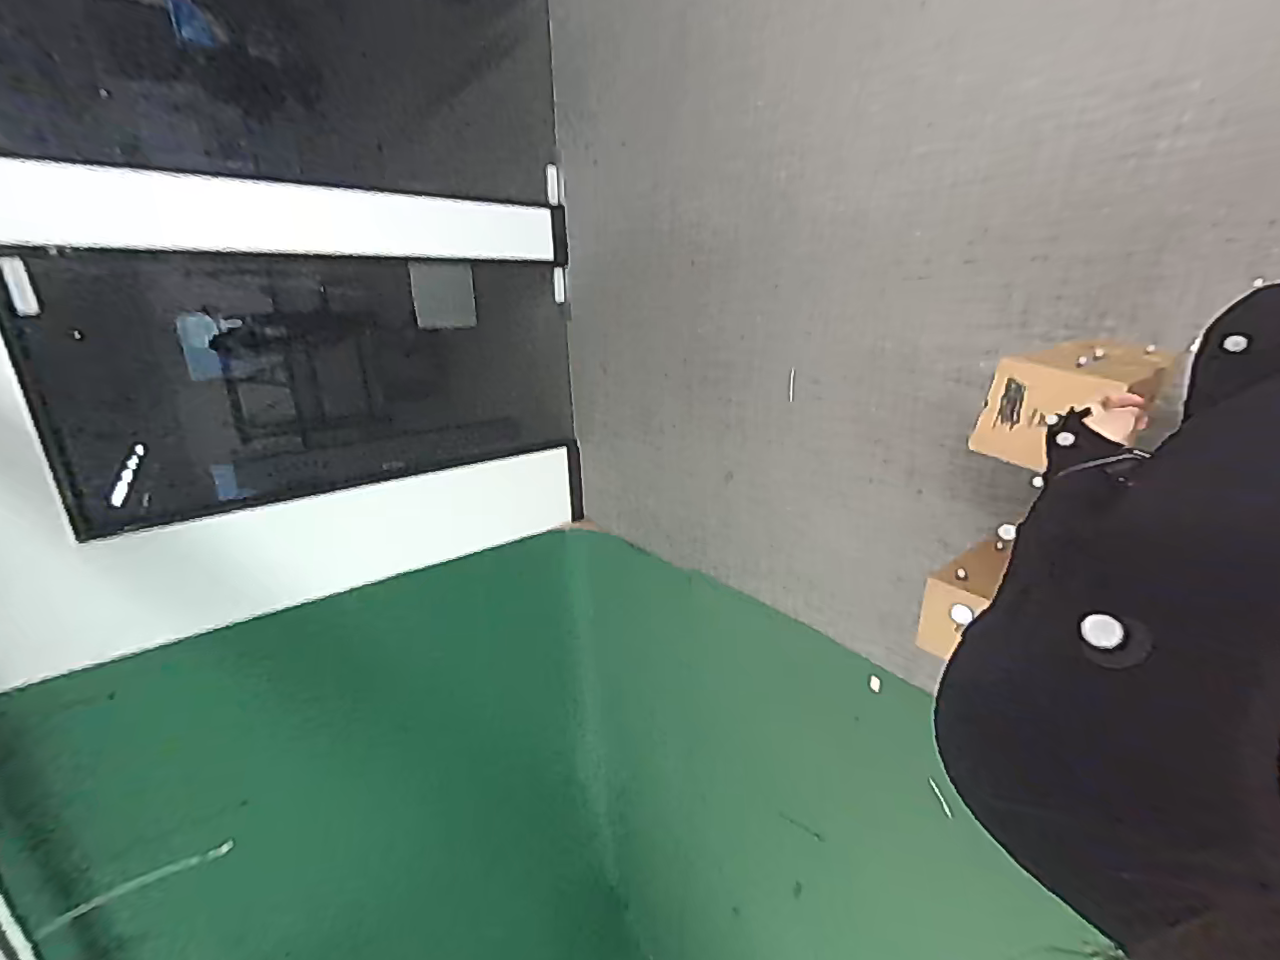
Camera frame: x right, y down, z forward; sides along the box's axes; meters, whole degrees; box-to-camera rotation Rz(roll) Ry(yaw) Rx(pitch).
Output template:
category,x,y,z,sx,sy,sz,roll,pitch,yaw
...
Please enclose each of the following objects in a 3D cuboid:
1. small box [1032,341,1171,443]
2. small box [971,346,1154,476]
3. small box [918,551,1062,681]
category,x,y,z,sx,sy,sz,roll,pitch,yaw
small box,0.834,-0.164,1.014,0.179,0.176,0.168,31,126,44
small box,0.709,-0.126,0.914,0.179,0.176,0.168,32,127,43
small box,0.693,0.257,1.077,0.179,0.176,0.168,23,122,49
